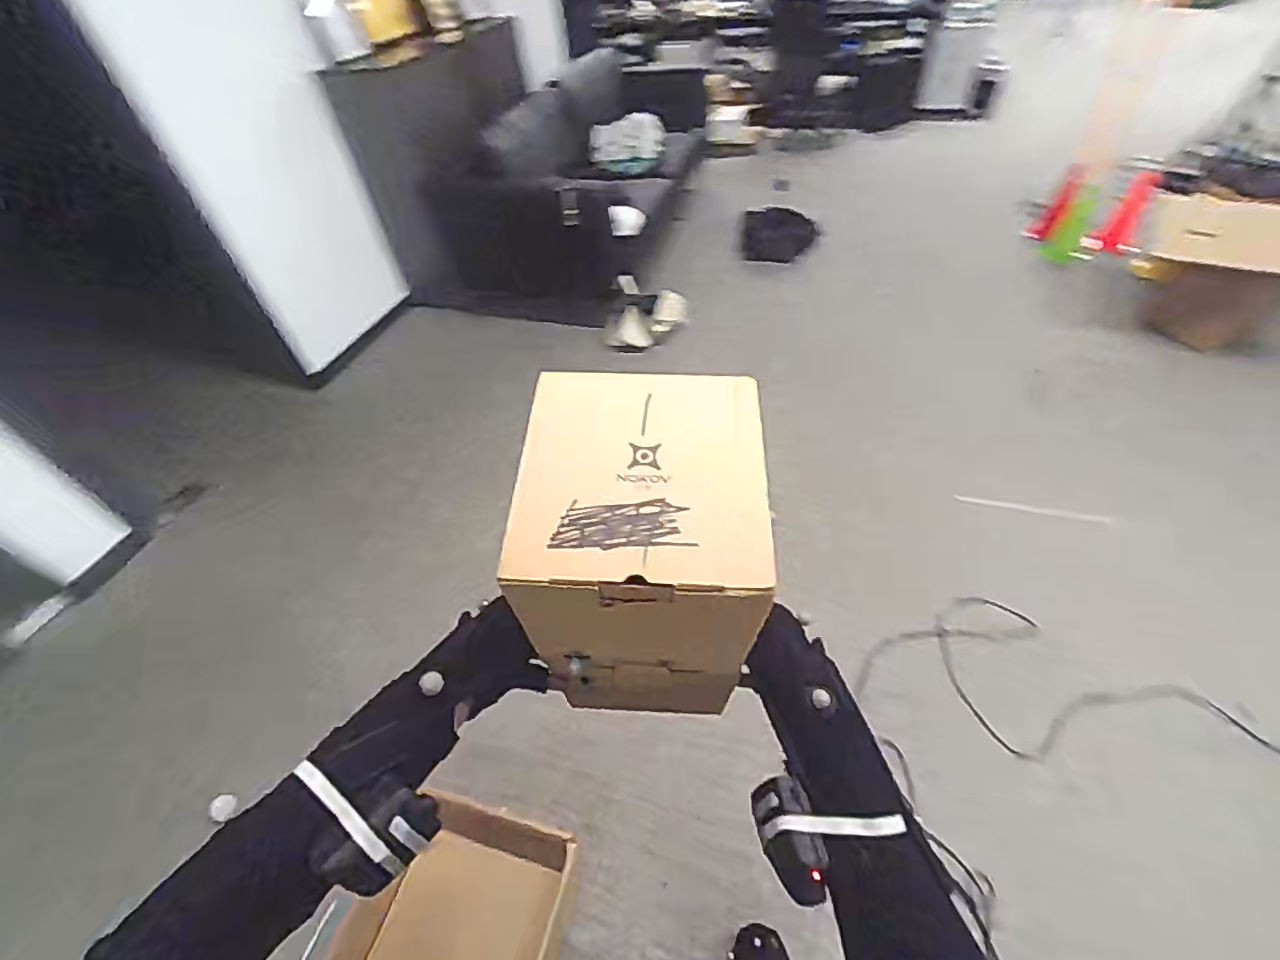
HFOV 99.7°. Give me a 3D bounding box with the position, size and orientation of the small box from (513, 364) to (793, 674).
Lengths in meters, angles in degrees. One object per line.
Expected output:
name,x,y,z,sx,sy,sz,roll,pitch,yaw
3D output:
small box,0.017,0.037,0.418,0.168,0.176,0.179,6,56,3
